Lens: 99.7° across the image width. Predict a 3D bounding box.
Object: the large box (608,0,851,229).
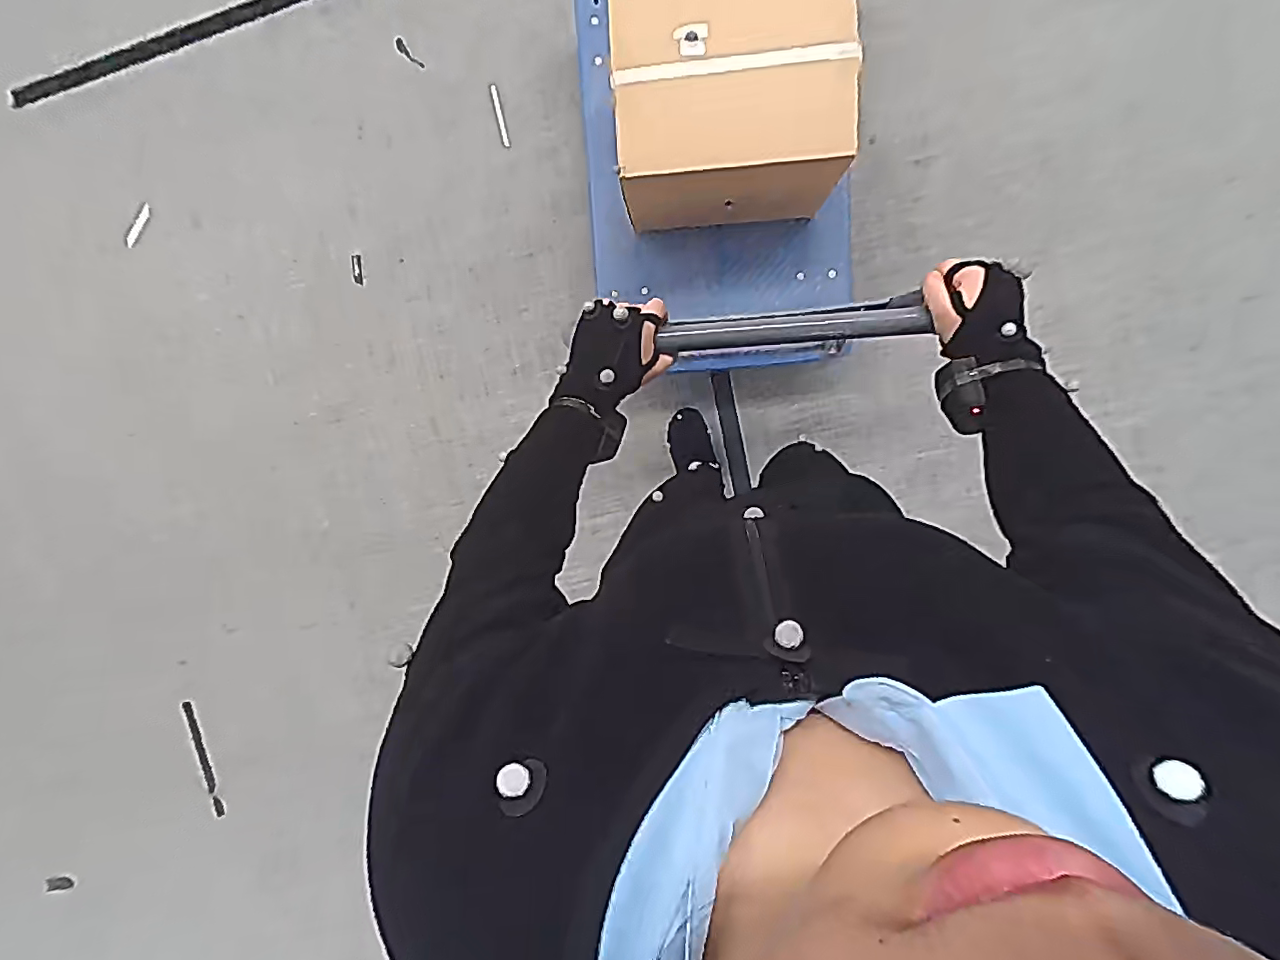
[{"bbox_3d":[0.169,-0.719,1.068,0.408,0.320,0.320,-3,97,6],"label":"large box"}]
